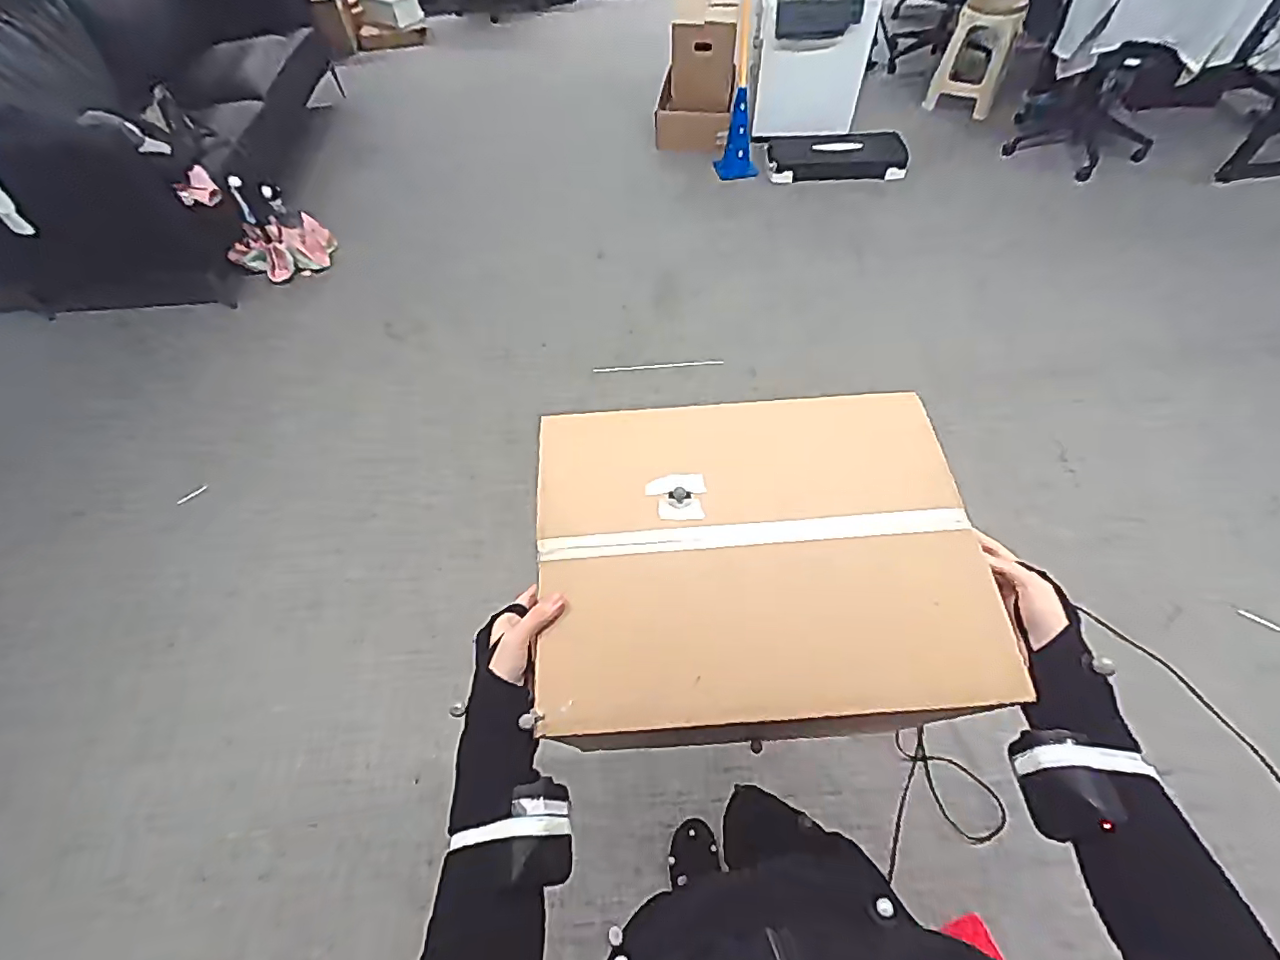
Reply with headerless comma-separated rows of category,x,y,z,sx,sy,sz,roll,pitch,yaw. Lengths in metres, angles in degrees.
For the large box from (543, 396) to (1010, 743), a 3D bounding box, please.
large box,0.113,0.129,0.654,0.408,0.320,0.320,-5,61,1
